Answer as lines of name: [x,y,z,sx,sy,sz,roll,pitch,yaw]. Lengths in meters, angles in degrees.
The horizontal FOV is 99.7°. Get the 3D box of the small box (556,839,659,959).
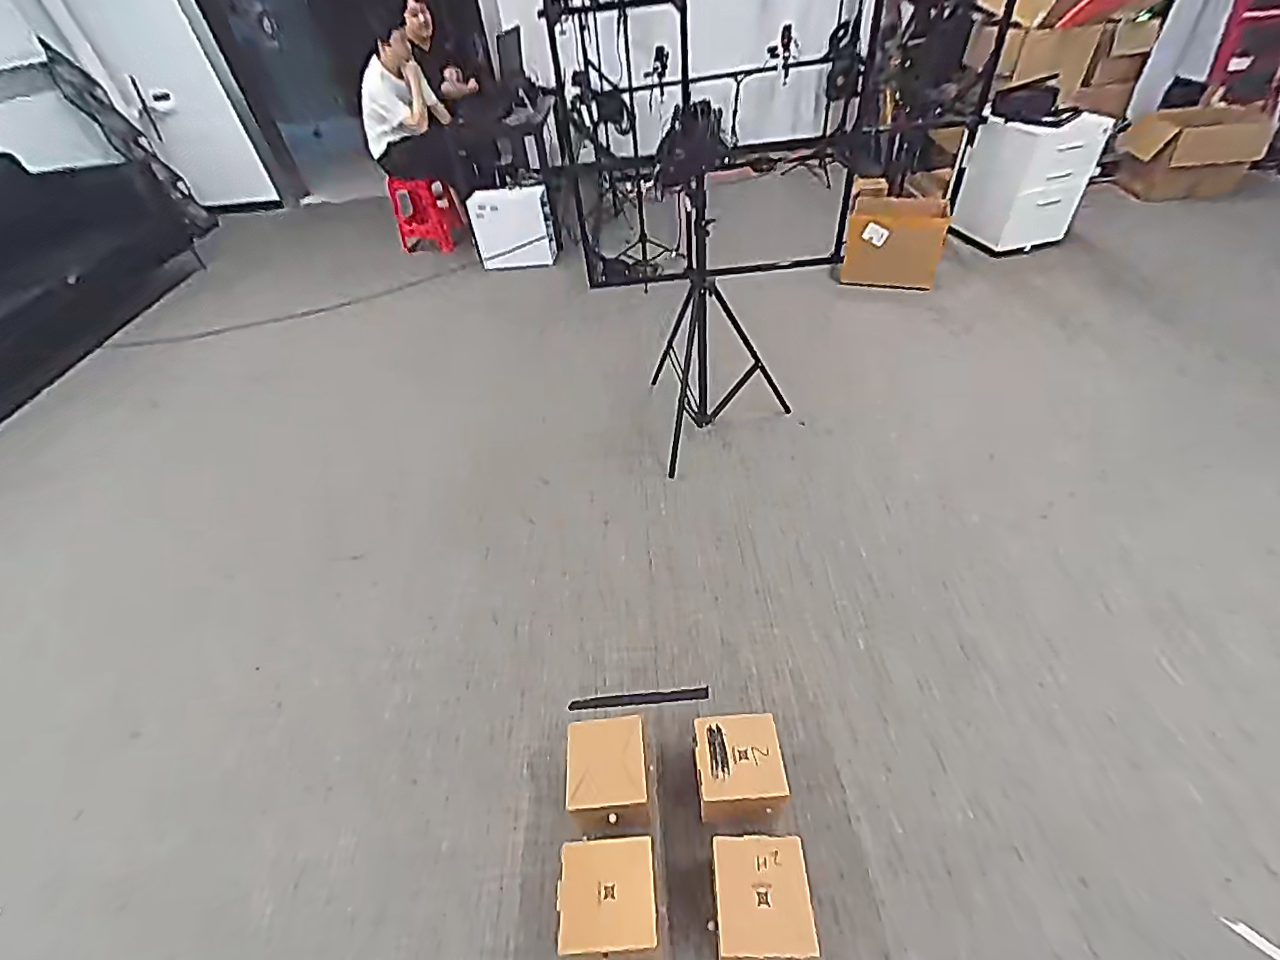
small box: [-0.056,0.811,1.043,0.179,0.176,0.168,-6,44,2]

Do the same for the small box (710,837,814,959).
small box: [0.220,0.796,1.021,0.168,0.176,0.179,-2,44,4]
